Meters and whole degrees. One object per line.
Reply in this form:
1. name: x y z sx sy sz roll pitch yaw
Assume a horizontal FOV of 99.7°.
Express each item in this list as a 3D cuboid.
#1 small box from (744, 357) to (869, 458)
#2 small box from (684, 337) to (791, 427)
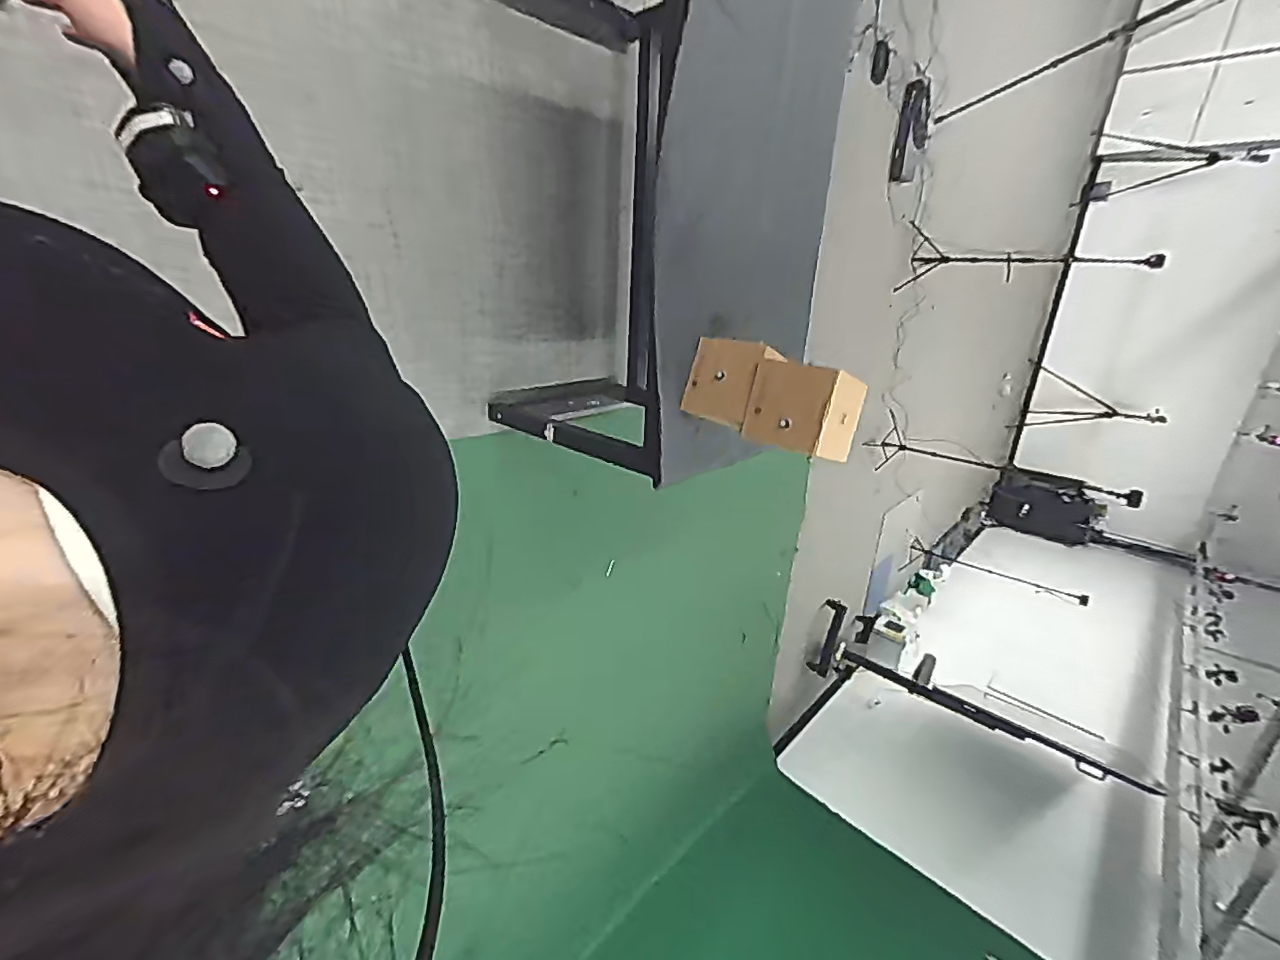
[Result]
1. small box: 0.333 -0.147 1.093 0.179 0.176 0.168 2 105 -51
2. small box: 0.222 -0.210 1.196 0.179 0.176 0.168 10 98 -52
